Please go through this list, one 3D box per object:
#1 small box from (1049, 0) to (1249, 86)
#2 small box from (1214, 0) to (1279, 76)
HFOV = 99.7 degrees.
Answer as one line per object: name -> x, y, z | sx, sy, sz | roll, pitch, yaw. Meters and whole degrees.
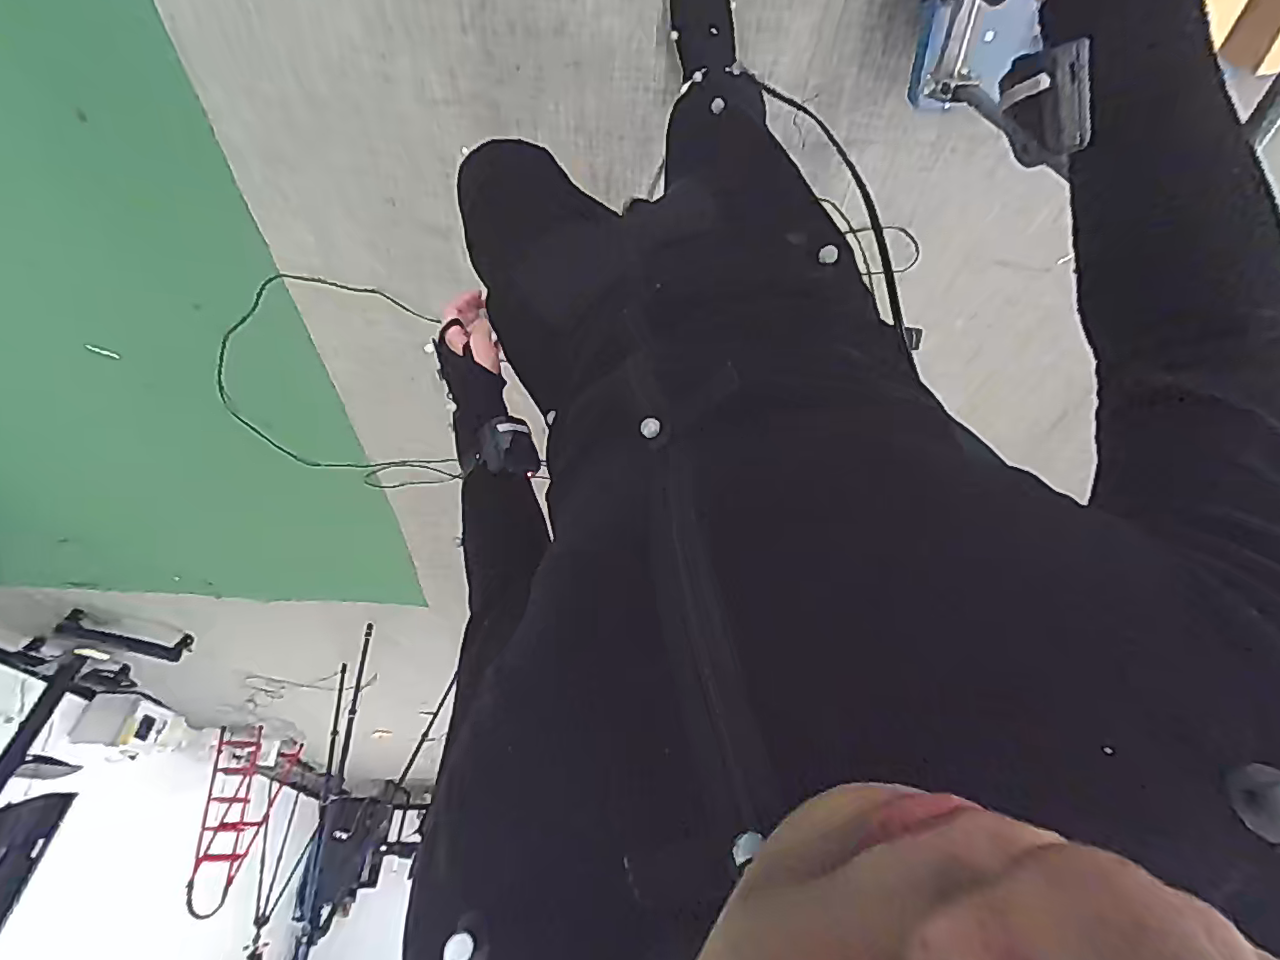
small box -> 0.821, -0.762, 0.870 | 0.179, 0.176, 0.168 | -1, 140, 4
small box -> 1.070, -0.770, 0.854 | 0.179, 0.176, 0.168 | -3, 139, 6
